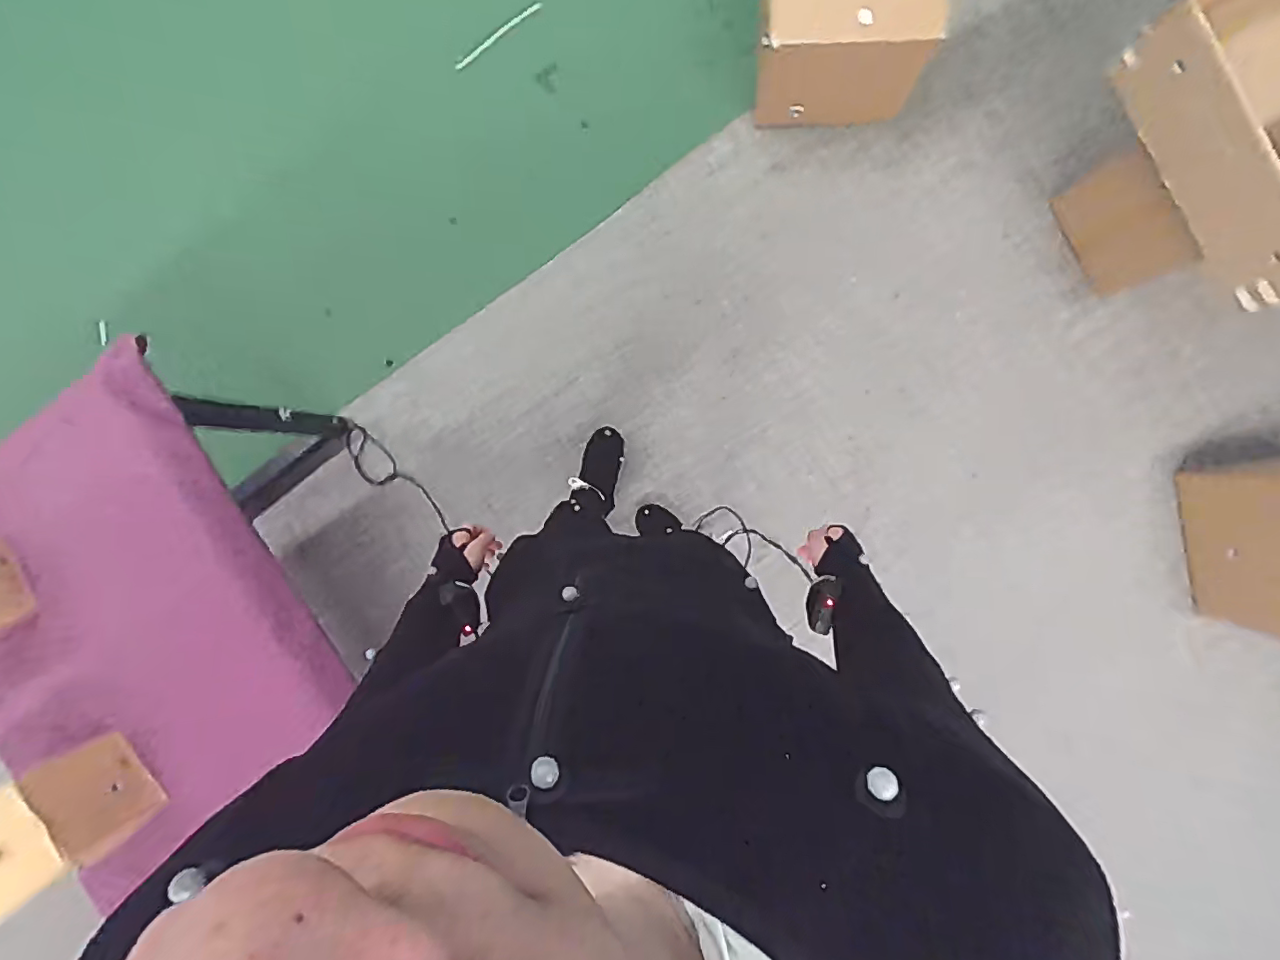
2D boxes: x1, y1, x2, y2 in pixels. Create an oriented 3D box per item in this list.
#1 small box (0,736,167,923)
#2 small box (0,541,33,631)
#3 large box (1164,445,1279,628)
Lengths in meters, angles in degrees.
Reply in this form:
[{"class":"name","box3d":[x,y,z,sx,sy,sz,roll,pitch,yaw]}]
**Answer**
[{"class":"small box","box3d":[-0.994,0.590,0.937,0.179,0.176,0.168,-40,88,4]},{"class":"small box","box3d":[-1.249,0.217,0.942,0.179,0.176,0.168,-29,90,5]},{"class":"large box","box3d":[1.638,0.128,1.356,0.320,0.320,0.408,-11,90,5]}]
